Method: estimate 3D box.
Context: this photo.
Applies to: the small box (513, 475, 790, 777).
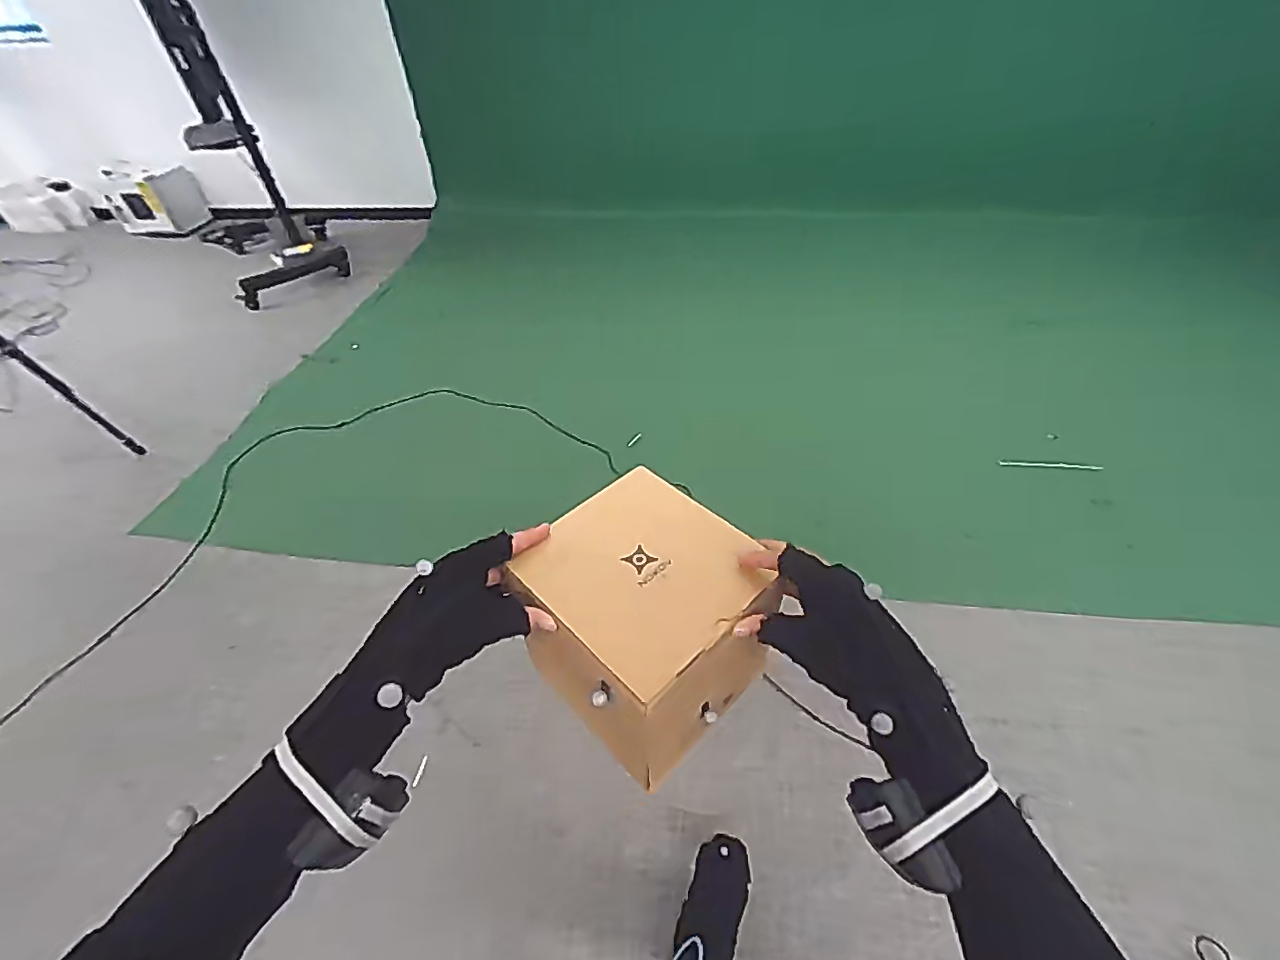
[{"bbox_3d":[0.007,0.131,0.504,0.168,0.176,0.179,-33,52,-30],"label":"small box"}]
